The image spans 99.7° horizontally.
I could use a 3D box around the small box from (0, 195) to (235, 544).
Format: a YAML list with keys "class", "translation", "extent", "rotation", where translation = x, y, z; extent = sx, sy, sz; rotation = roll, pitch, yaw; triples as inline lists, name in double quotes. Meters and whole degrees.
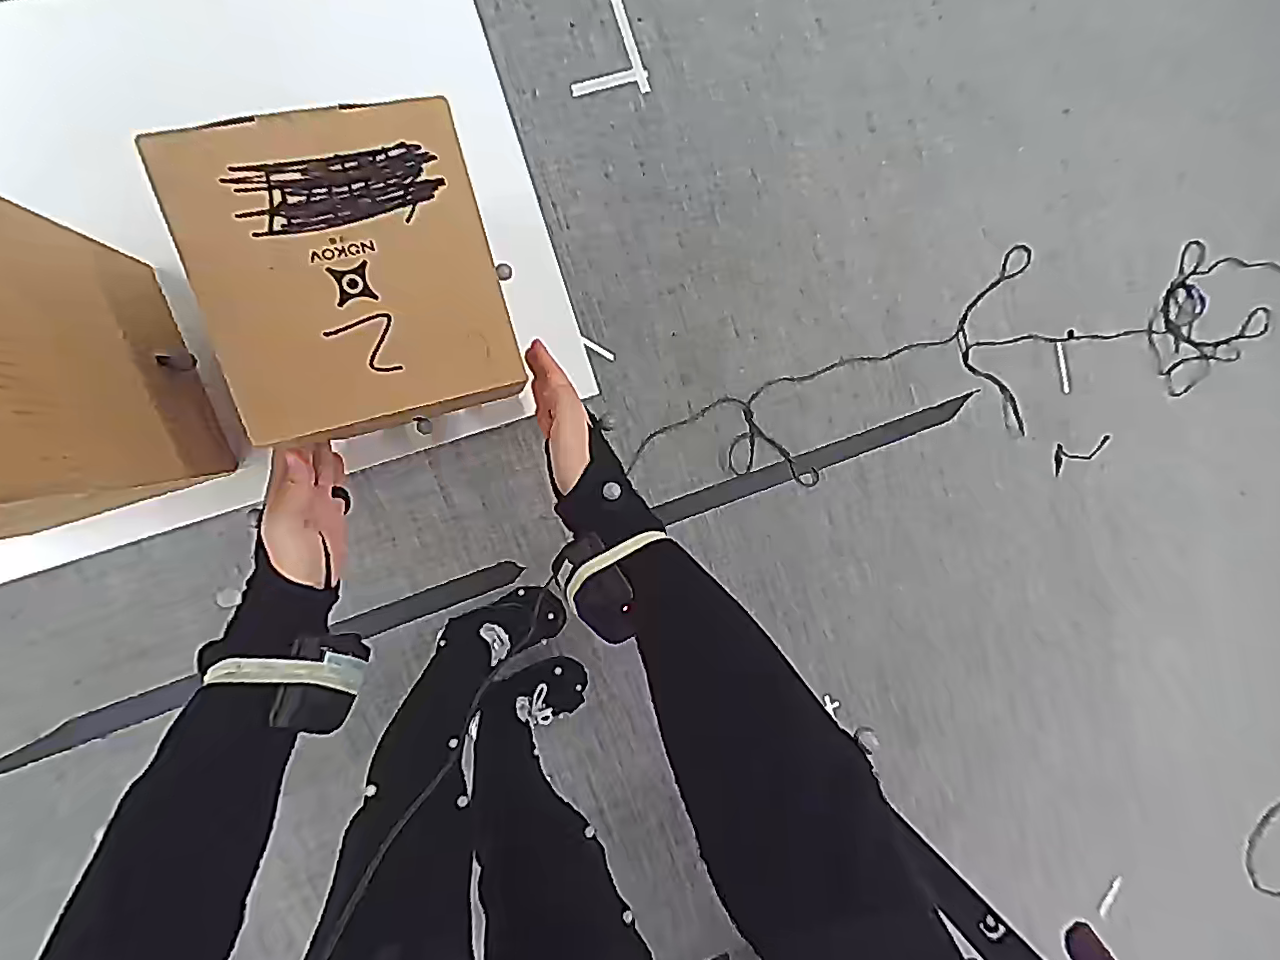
- class: "small box"
  translation: [-0.413, -0.054, 0.345]
  extent: [0.168, 0.176, 0.179]
  rotation: [-19, 99, -11]

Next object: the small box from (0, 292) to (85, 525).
- class: "small box"
  translation: [-0.373, -0.037, 0.188]
  extent: [0.168, 0.176, 0.179]
  rotation: [-21, 100, -11]
